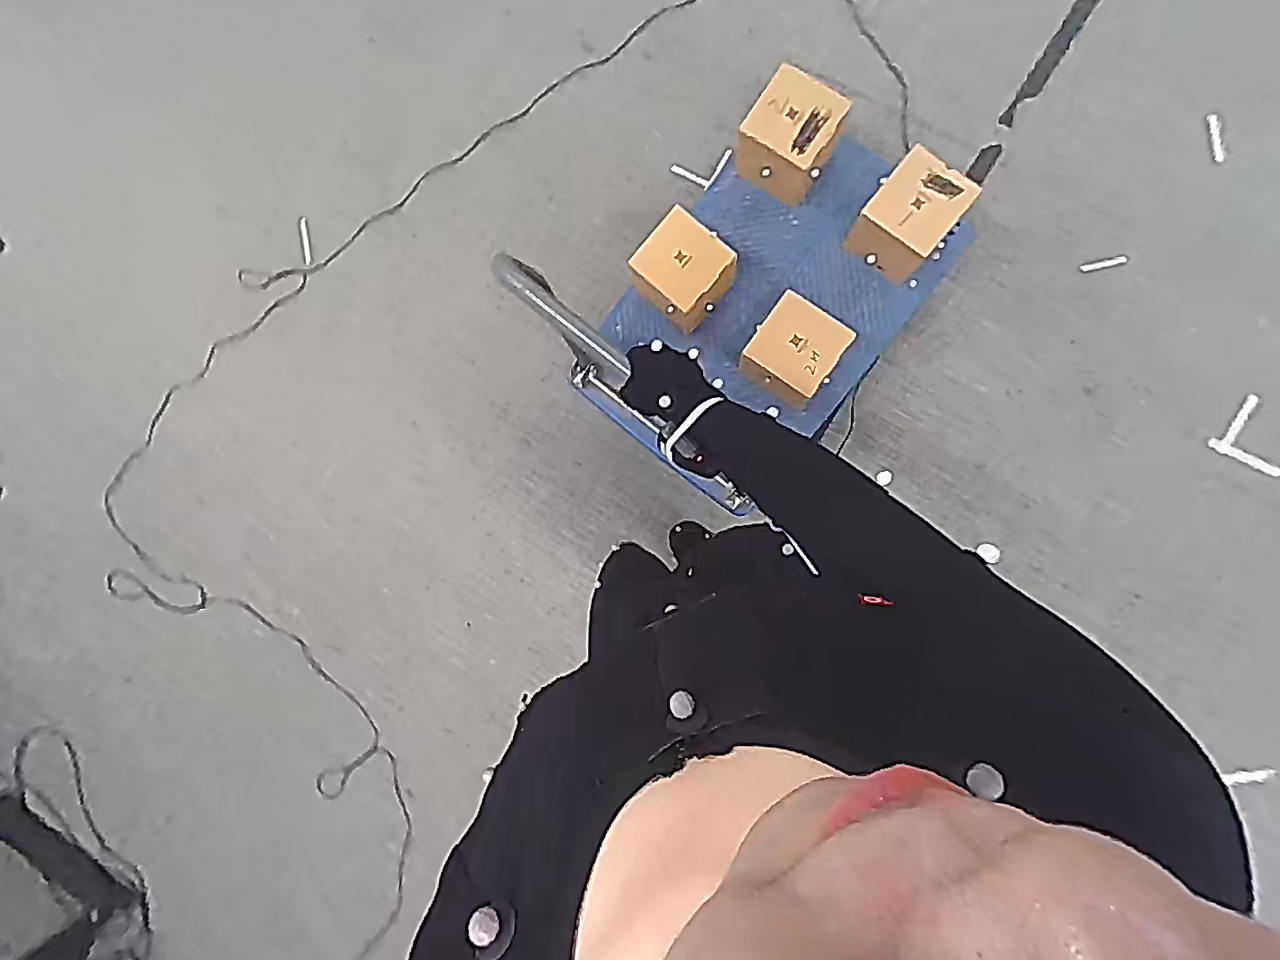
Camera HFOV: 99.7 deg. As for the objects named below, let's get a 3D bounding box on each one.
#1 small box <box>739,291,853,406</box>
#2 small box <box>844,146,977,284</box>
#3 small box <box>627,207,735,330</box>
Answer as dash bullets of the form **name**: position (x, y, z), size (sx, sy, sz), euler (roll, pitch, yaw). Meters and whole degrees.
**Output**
- **small box**: position (0.337, -0.284, 1.212), size (0.179, 0.176, 0.168), euler (36, 94, 6)
- **small box**: position (0.577, -0.569, 1.184), size (0.168, 0.176, 0.179), euler (39, 95, 6)
- **small box**: position (0.094, -0.473, 1.243), size (0.179, 0.176, 0.168), euler (41, 94, 4)
